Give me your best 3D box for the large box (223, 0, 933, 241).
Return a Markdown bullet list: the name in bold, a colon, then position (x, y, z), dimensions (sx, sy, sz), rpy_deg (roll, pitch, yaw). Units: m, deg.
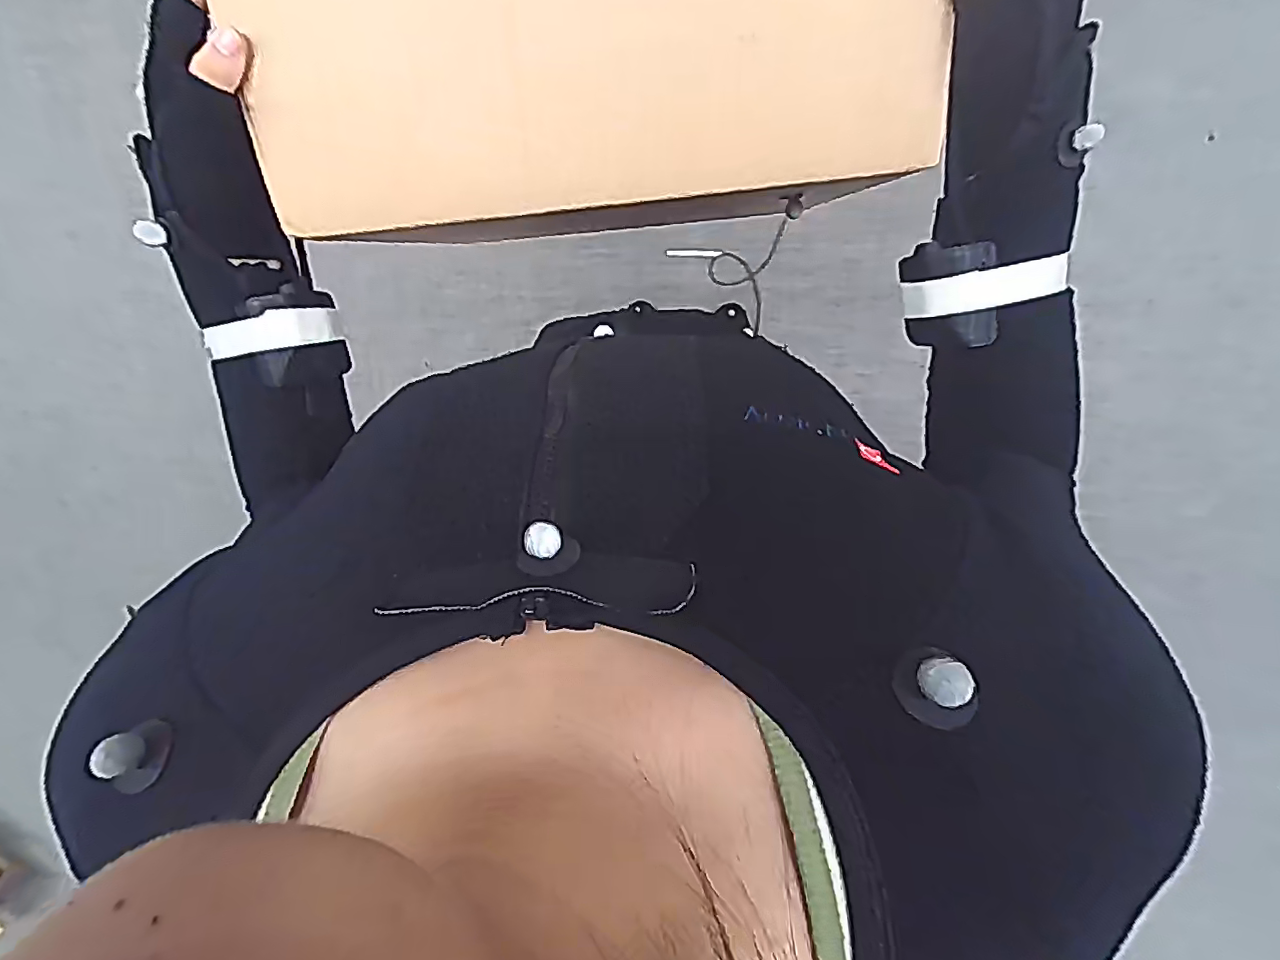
- **large box**: position (-0.036, -0.375, 0.420), dimensions (0.408, 0.320, 0.320), rpy_deg (-4, 112, 4)
